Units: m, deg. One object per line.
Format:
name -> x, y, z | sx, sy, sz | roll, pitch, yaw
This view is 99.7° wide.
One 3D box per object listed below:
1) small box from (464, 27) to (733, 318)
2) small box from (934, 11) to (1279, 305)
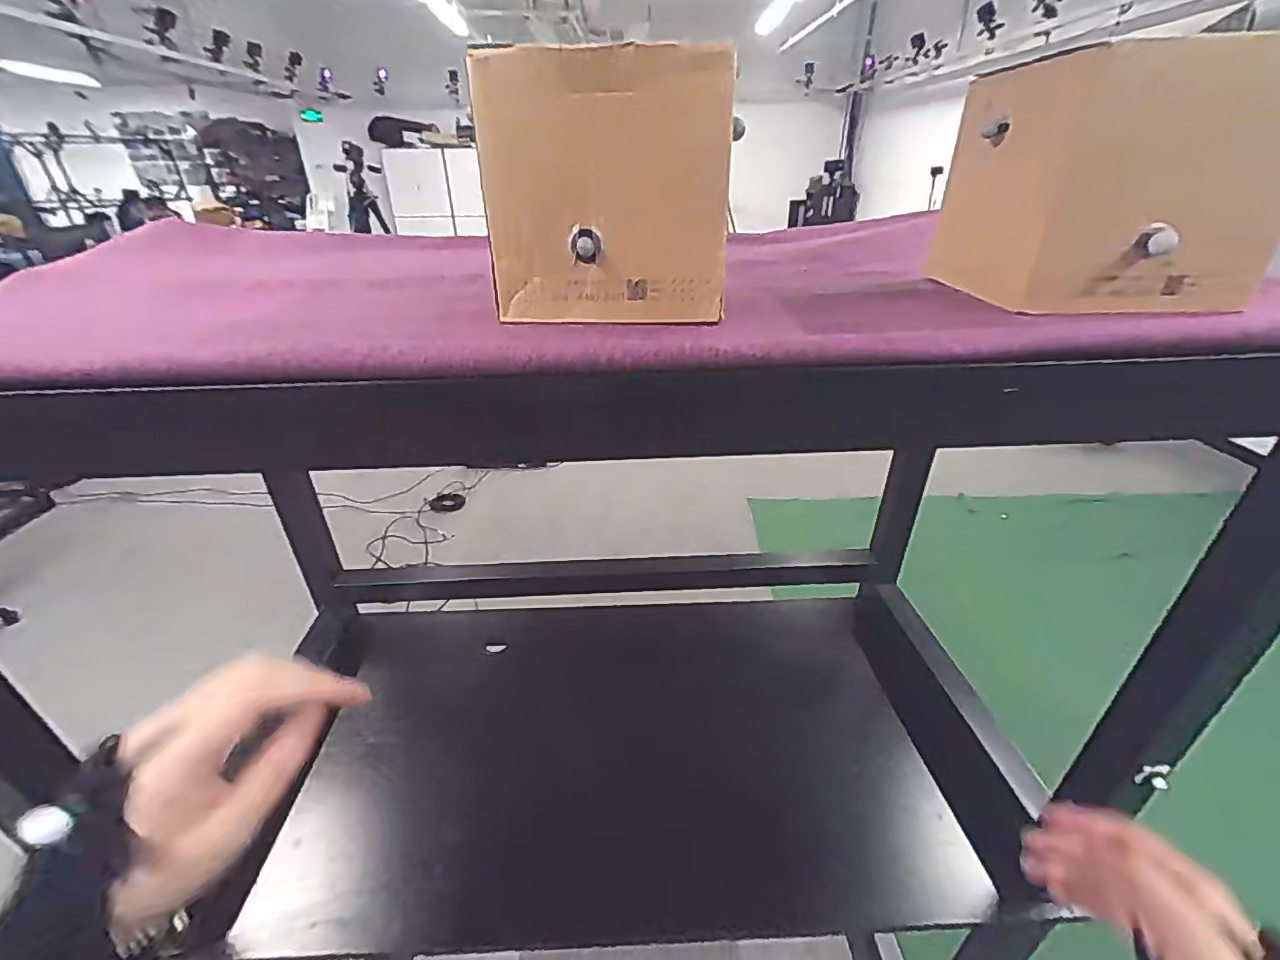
small box -> -0.022, -0.234, 0.431 | 0.168, 0.176, 0.179 | 0, 29, 2
small box -> 0.364, -0.244, 0.429 | 0.168, 0.176, 0.179 | 0, 31, 4
